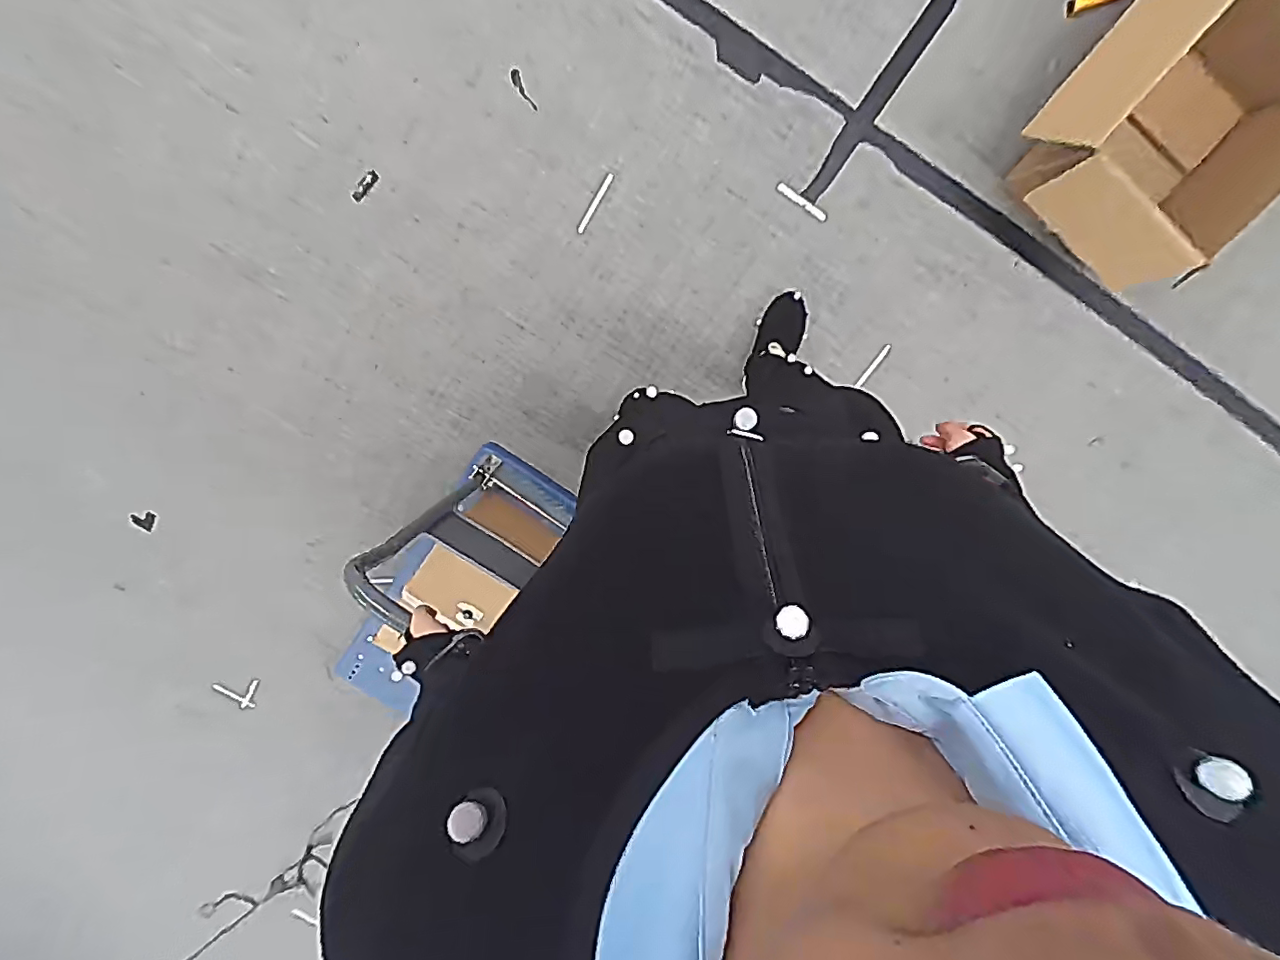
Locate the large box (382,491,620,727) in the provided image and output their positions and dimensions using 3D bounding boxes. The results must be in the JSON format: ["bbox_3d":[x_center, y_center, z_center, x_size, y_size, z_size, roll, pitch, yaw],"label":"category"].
[{"bbox_3d":[-0.308,0.294,1.305,0.408,0.320,0.320,35,106,-6],"label":"large box"}]
